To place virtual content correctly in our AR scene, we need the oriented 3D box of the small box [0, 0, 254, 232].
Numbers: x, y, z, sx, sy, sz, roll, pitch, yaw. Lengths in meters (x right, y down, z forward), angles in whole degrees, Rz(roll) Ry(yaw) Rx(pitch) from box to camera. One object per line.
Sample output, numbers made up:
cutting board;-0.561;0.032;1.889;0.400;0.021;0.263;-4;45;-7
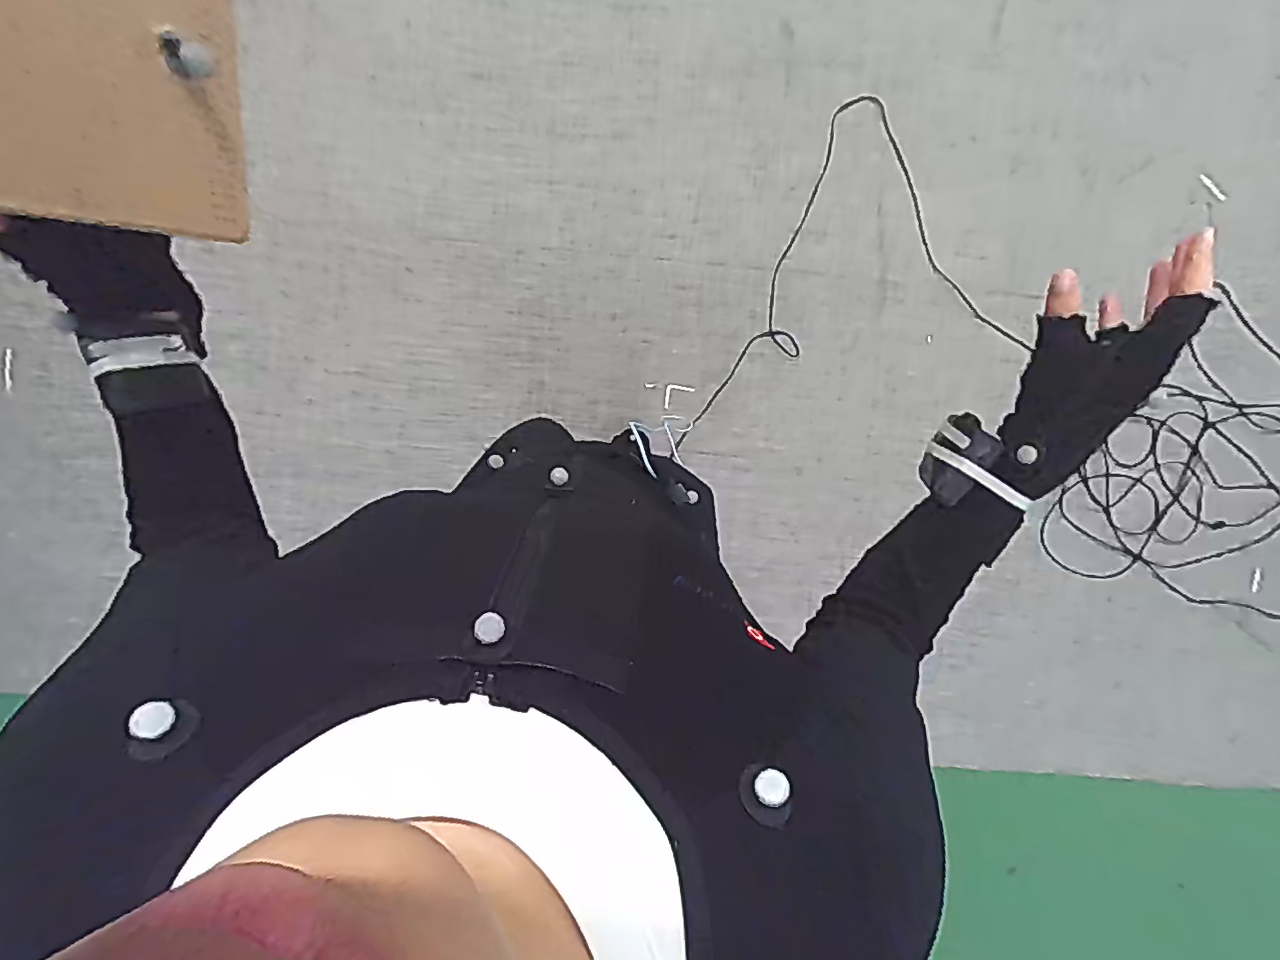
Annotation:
small box;-0.308;-0.224;0.235;0.168;0.176;0.179;11;109;2
